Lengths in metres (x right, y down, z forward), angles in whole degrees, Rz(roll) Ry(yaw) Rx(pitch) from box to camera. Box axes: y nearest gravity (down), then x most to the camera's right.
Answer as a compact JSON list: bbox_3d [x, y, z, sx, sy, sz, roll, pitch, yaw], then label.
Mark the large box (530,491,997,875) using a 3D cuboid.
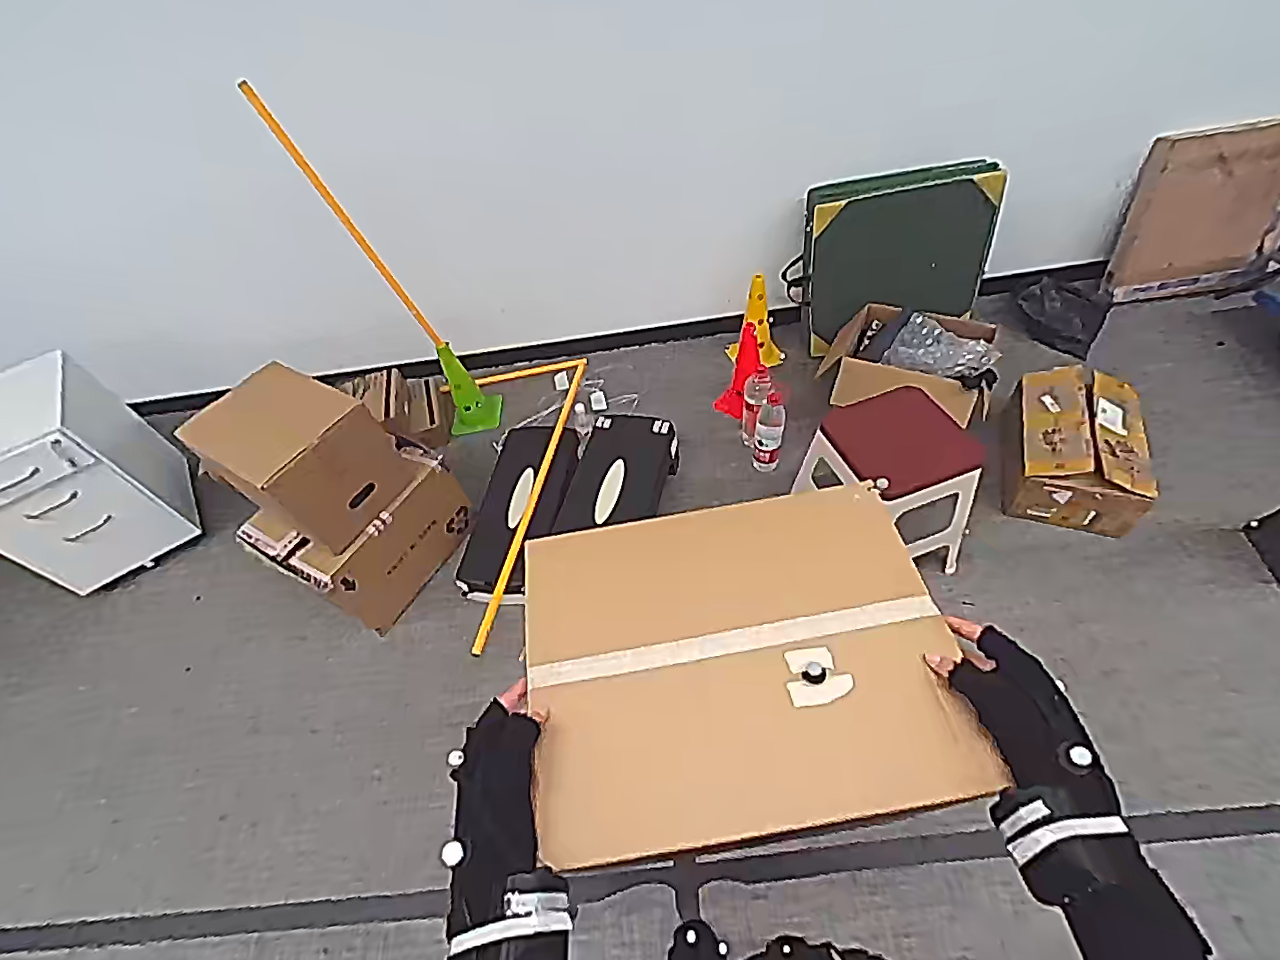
[{"bbox_3d":[0.102,0.257,0.661,0.408,0.320,0.320,-10,53,0],"label":"large box"}]
